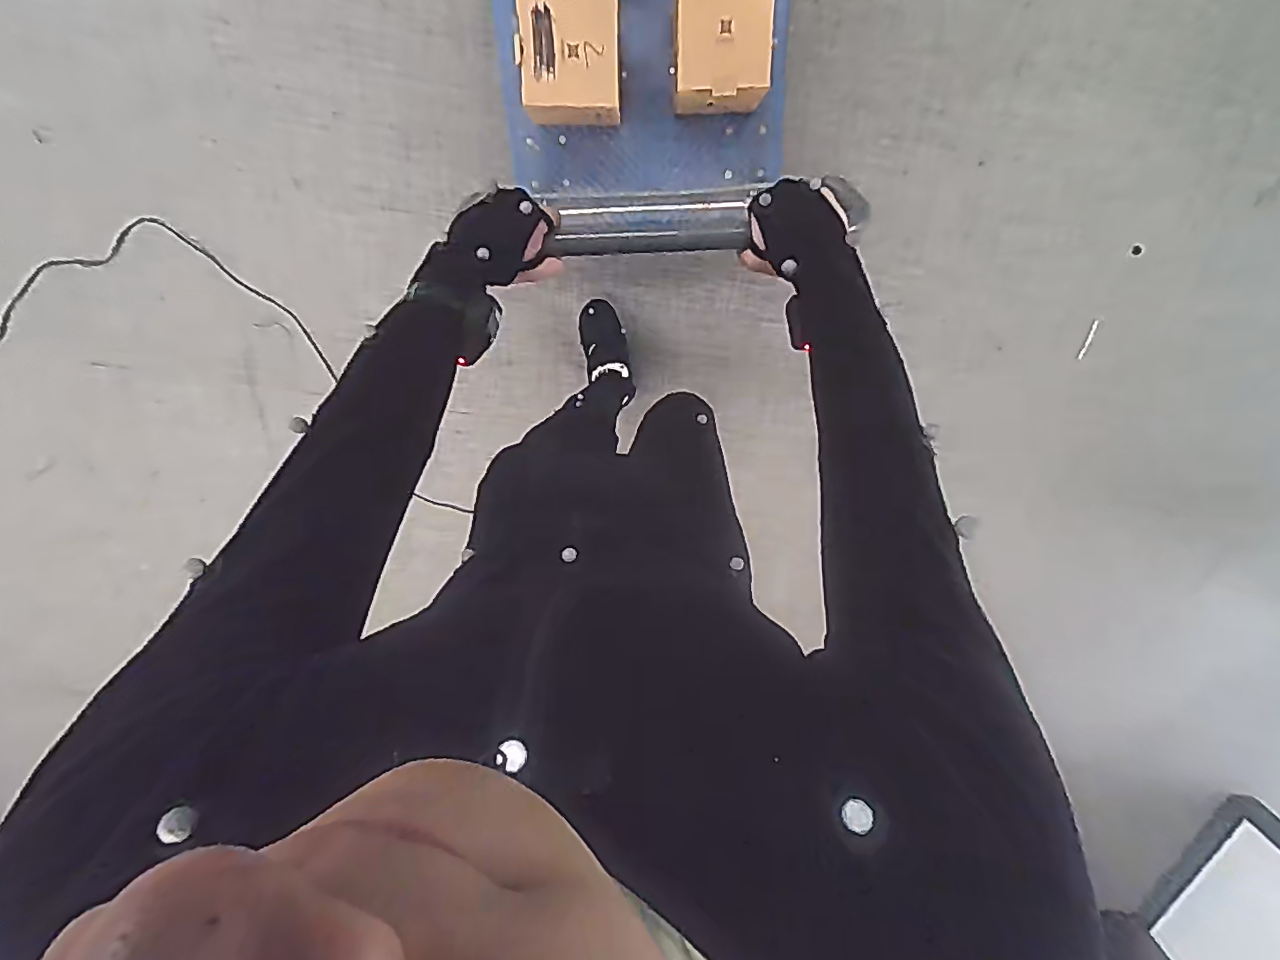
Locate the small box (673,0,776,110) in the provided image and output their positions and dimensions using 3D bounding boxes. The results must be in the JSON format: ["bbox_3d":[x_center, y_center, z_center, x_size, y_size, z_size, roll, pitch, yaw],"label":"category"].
[{"bbox_3d":[0.149,-0.813,1.006,0.168,0.176,0.179,-2,114,0],"label":"small box"}]
